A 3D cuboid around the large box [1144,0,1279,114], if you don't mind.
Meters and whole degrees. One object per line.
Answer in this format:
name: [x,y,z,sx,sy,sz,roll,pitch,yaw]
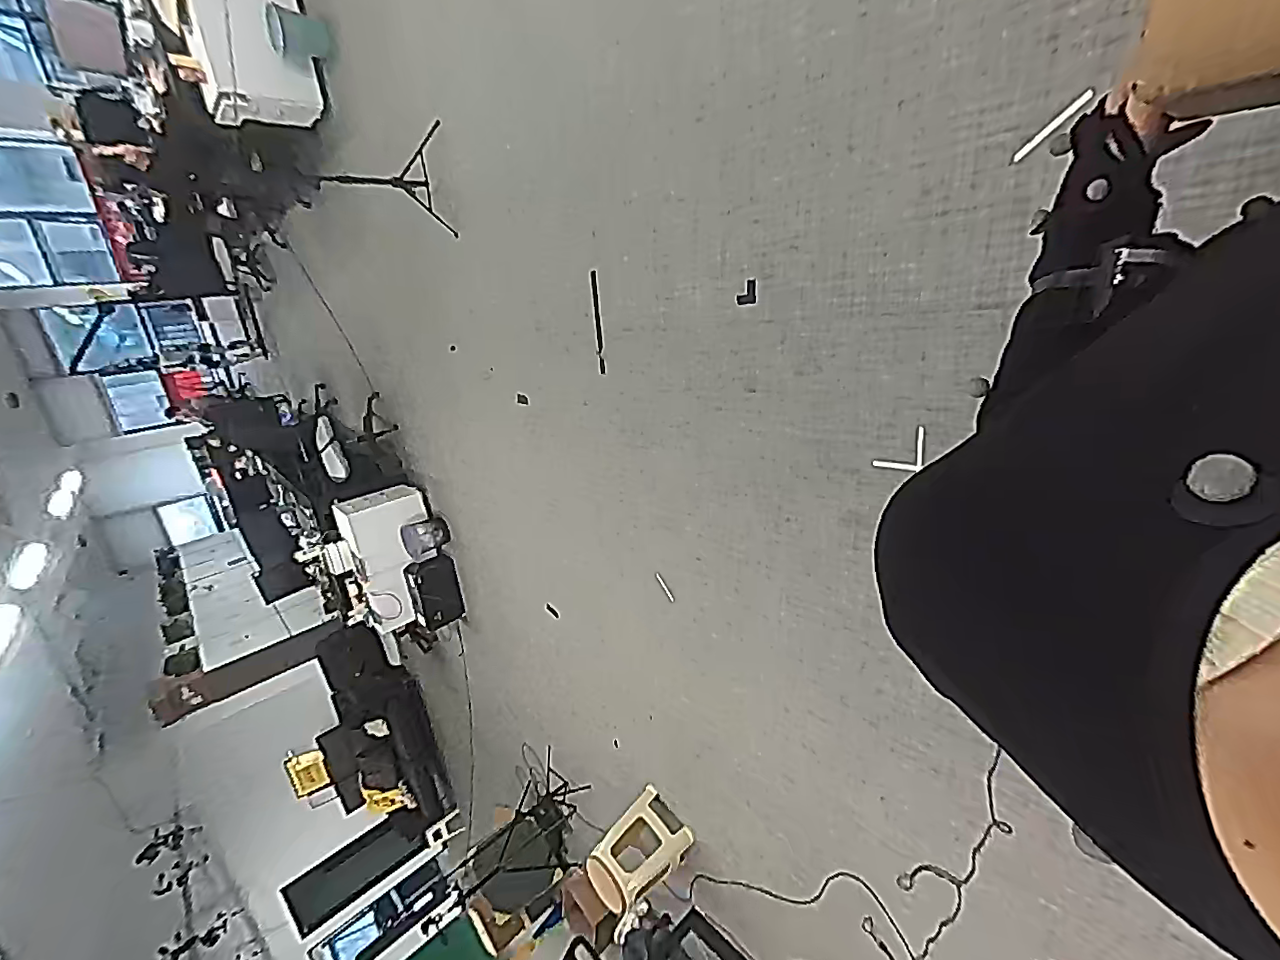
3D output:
large box: [0.426,-0.328,0.131,0.408,0.320,0.320,13,123,41]
